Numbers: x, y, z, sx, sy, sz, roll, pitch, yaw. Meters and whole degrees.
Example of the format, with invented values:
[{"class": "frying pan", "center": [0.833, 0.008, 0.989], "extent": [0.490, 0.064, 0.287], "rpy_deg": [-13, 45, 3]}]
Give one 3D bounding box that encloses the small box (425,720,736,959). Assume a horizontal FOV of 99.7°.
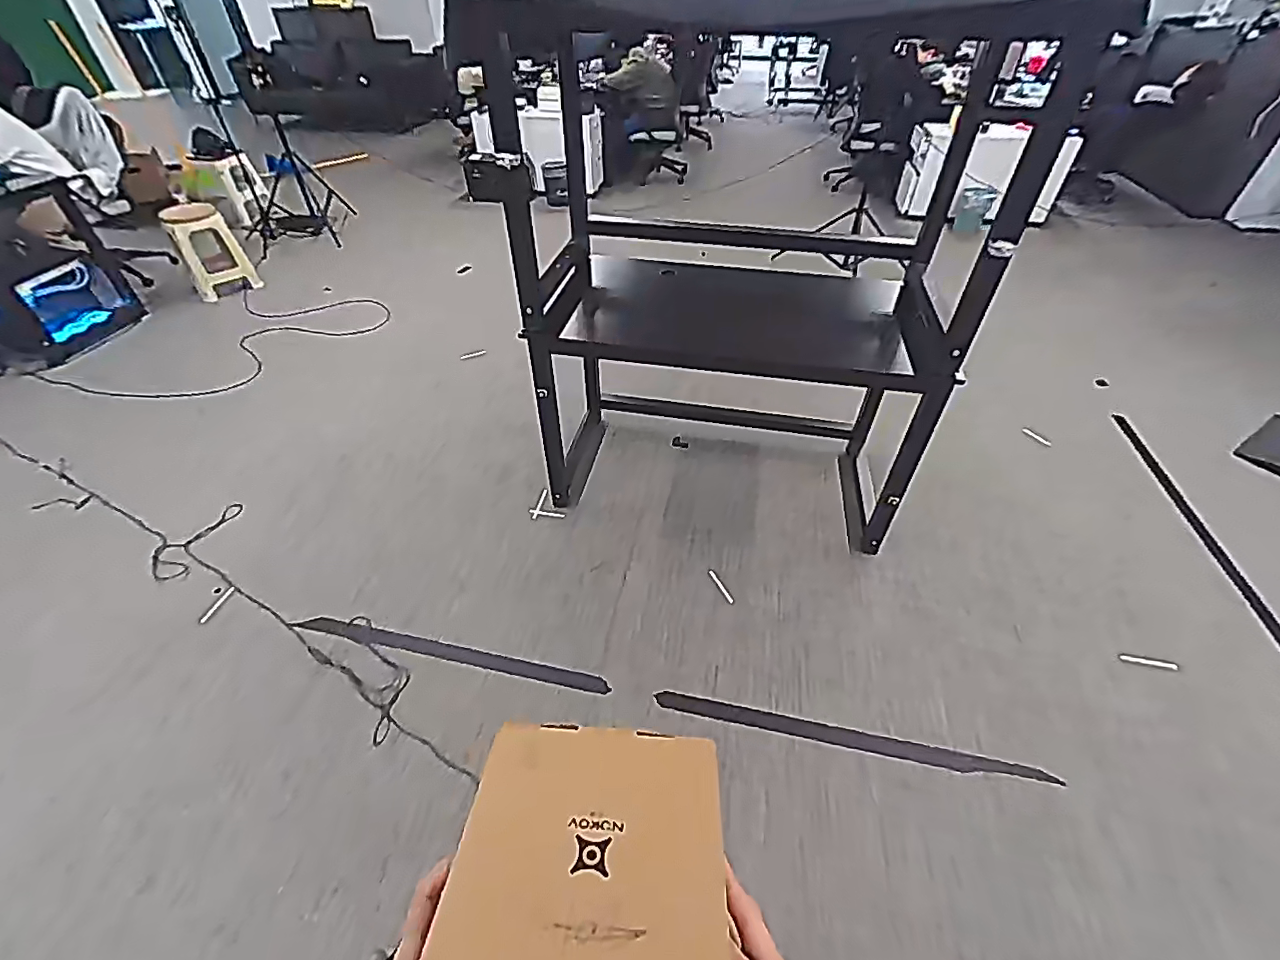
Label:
[{"class": "small box", "center": [-0.031, 0.299, 0.369], "extent": [0.168, 0.176, 0.179], "rpy_deg": [3, 27, 2]}]
